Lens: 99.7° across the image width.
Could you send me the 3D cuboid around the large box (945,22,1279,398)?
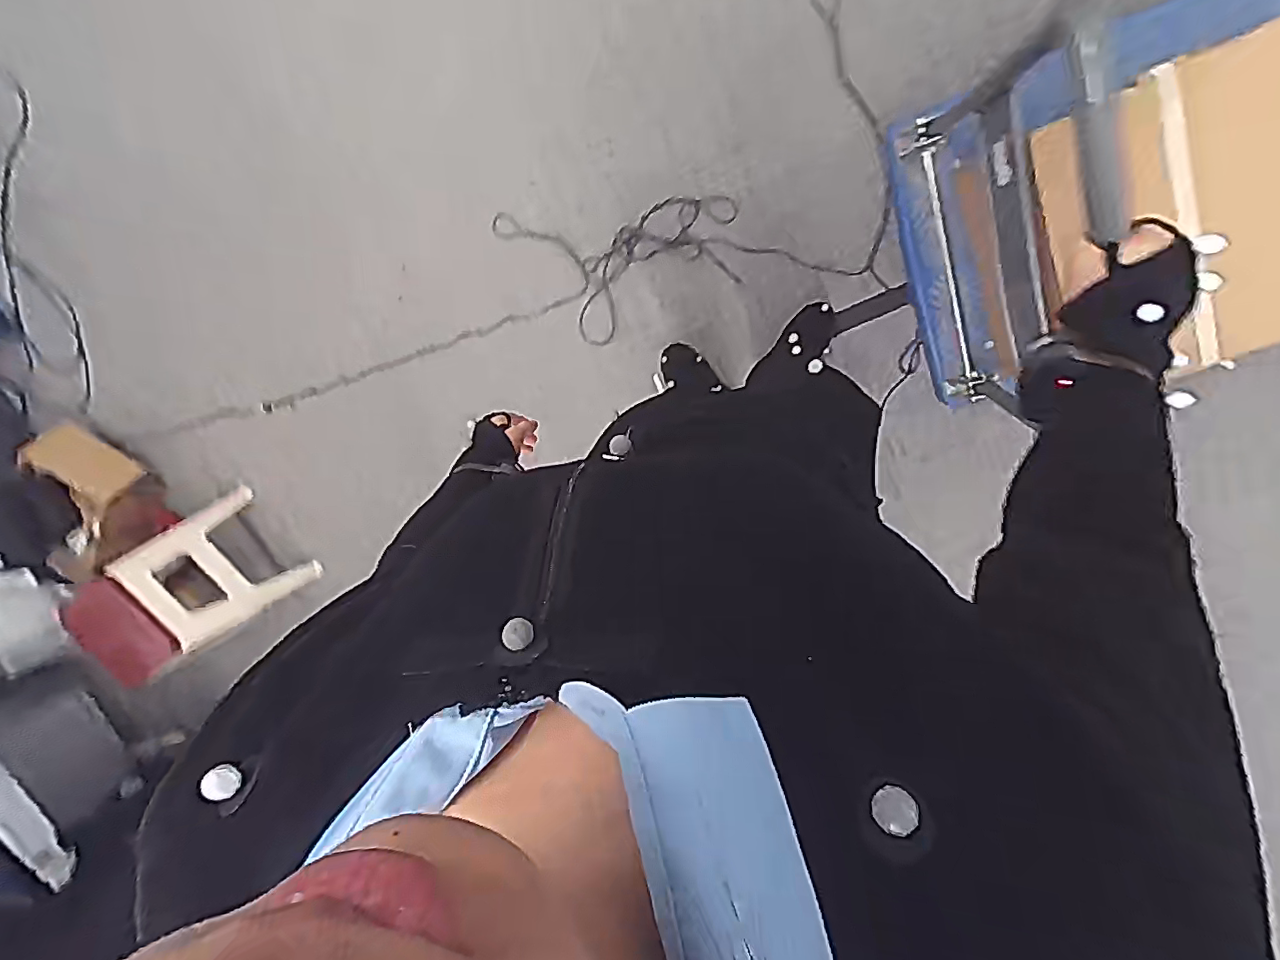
[{"bbox_3d":[0.771,-0.404,0.901,0.320,0.320,0.408,-20,106,18],"label":"large box"}]
